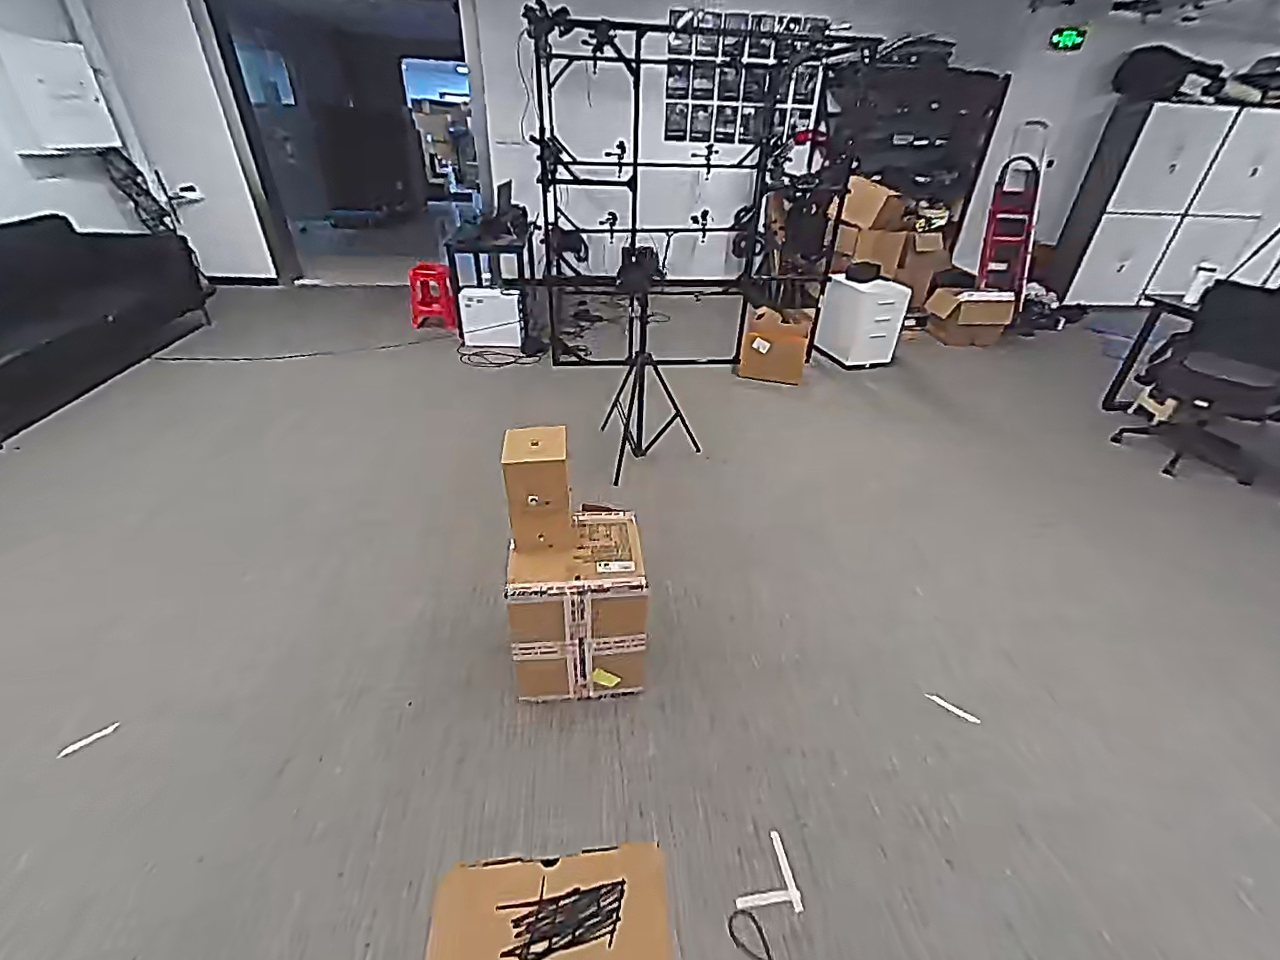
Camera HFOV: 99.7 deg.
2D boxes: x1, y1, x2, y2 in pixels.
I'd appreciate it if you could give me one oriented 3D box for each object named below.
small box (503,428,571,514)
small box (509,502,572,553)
[{"bbox_3d":[-0.279,-0.027,1.490,0.168,0.176,0.179,-5,37,-6],"label":"small box"},{"bbox_3d":[-0.289,0.094,1.600,0.168,0.176,0.179,-4,36,-6],"label":"small box"}]
